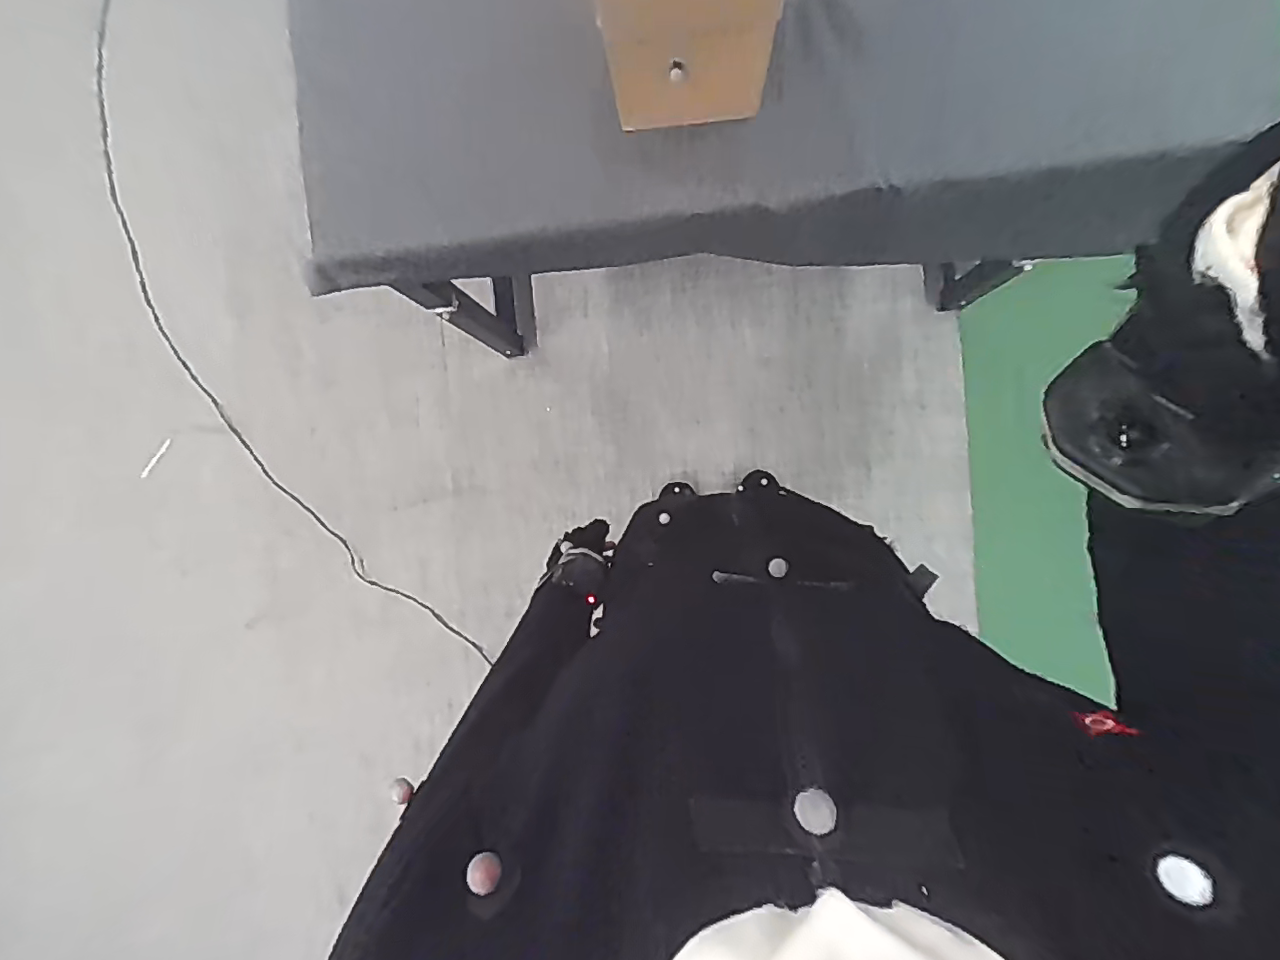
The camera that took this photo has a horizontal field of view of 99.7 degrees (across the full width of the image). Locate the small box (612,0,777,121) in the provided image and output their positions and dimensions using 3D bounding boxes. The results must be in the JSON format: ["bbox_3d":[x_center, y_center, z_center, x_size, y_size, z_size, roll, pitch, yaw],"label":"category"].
[{"bbox_3d":[0.056,-0.547,0.616,0.179,0.176,0.168,-6,89,5],"label":"small box"}]
